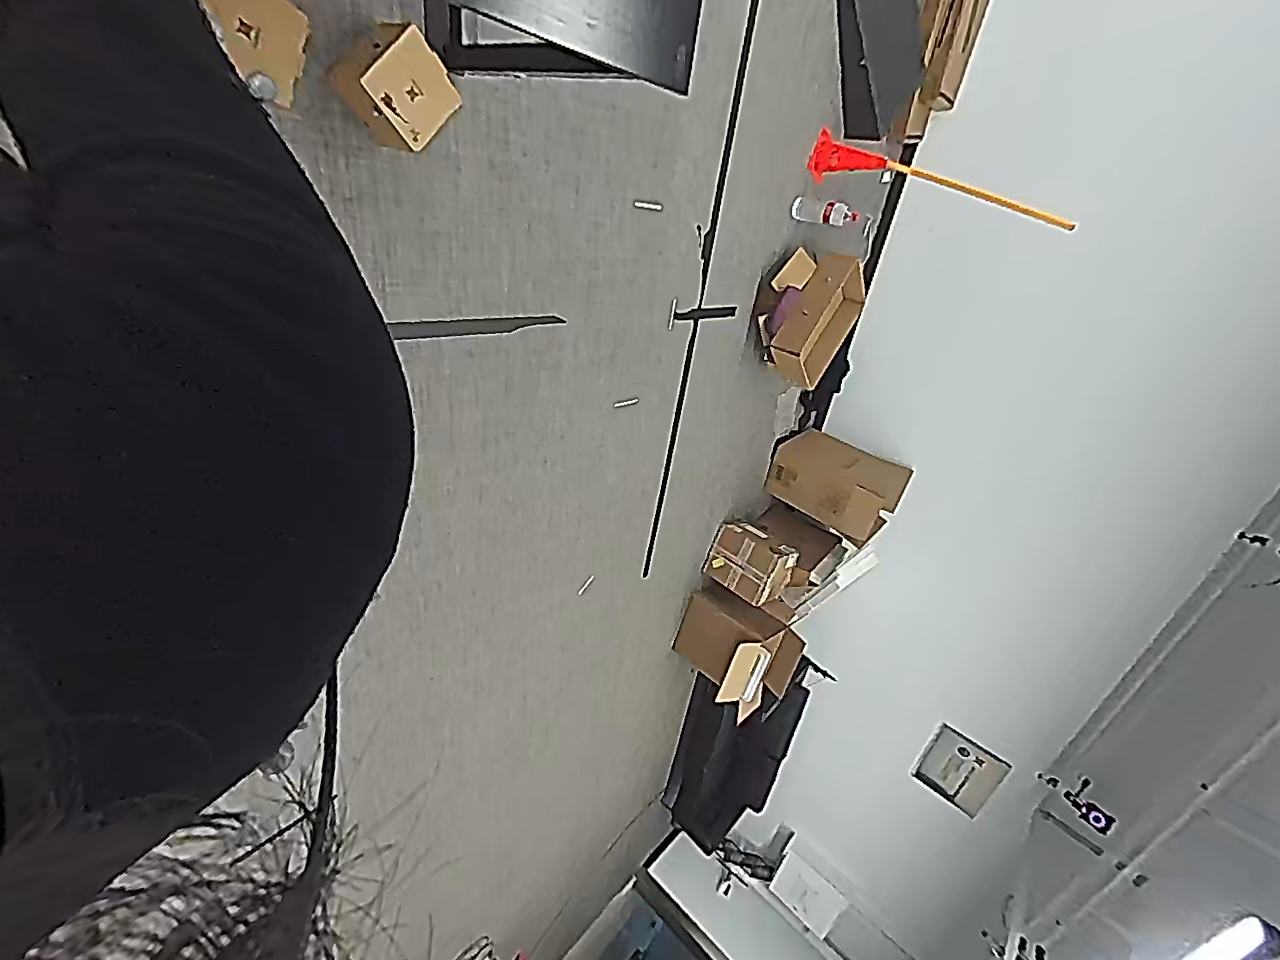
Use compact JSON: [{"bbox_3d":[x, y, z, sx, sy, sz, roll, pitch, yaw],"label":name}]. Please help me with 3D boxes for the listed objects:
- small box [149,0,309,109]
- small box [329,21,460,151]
[{"bbox_3d":[-0.746,-0.816,0.981,0.179,0.176,0.168,7,109,-55],"label":"small box"},{"bbox_3d":[-0.547,-0.875,1.203,0.179,0.176,0.168,-55,147,-8],"label":"small box"}]
